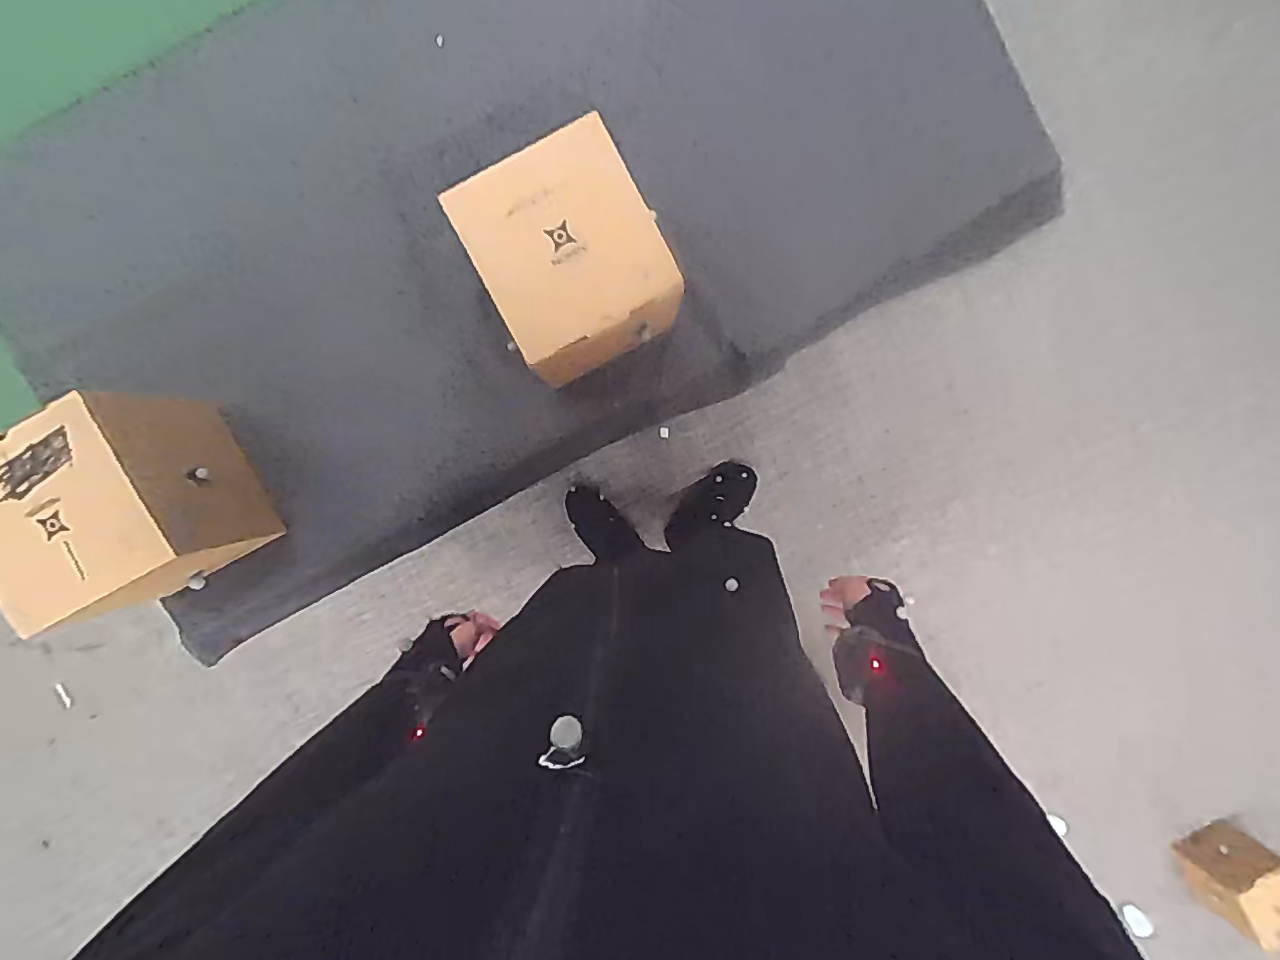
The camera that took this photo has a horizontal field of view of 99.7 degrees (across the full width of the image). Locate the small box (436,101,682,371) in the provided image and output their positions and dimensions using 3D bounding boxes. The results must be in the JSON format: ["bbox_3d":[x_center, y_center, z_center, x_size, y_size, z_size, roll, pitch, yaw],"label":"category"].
[{"bbox_3d":[-0.072,-0.228,0.563,0.168,0.176,0.179,-29,92,-1],"label":"small box"}]

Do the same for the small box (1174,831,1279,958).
[{"bbox_3d":[1.549,1.048,1.389,0.168,0.176,0.179,-29,92,0],"label":"small box"}]

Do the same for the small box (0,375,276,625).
[{"bbox_3d":[-0.535,0.016,0.559,0.168,0.176,0.179,-28,94,0],"label":"small box"}]
